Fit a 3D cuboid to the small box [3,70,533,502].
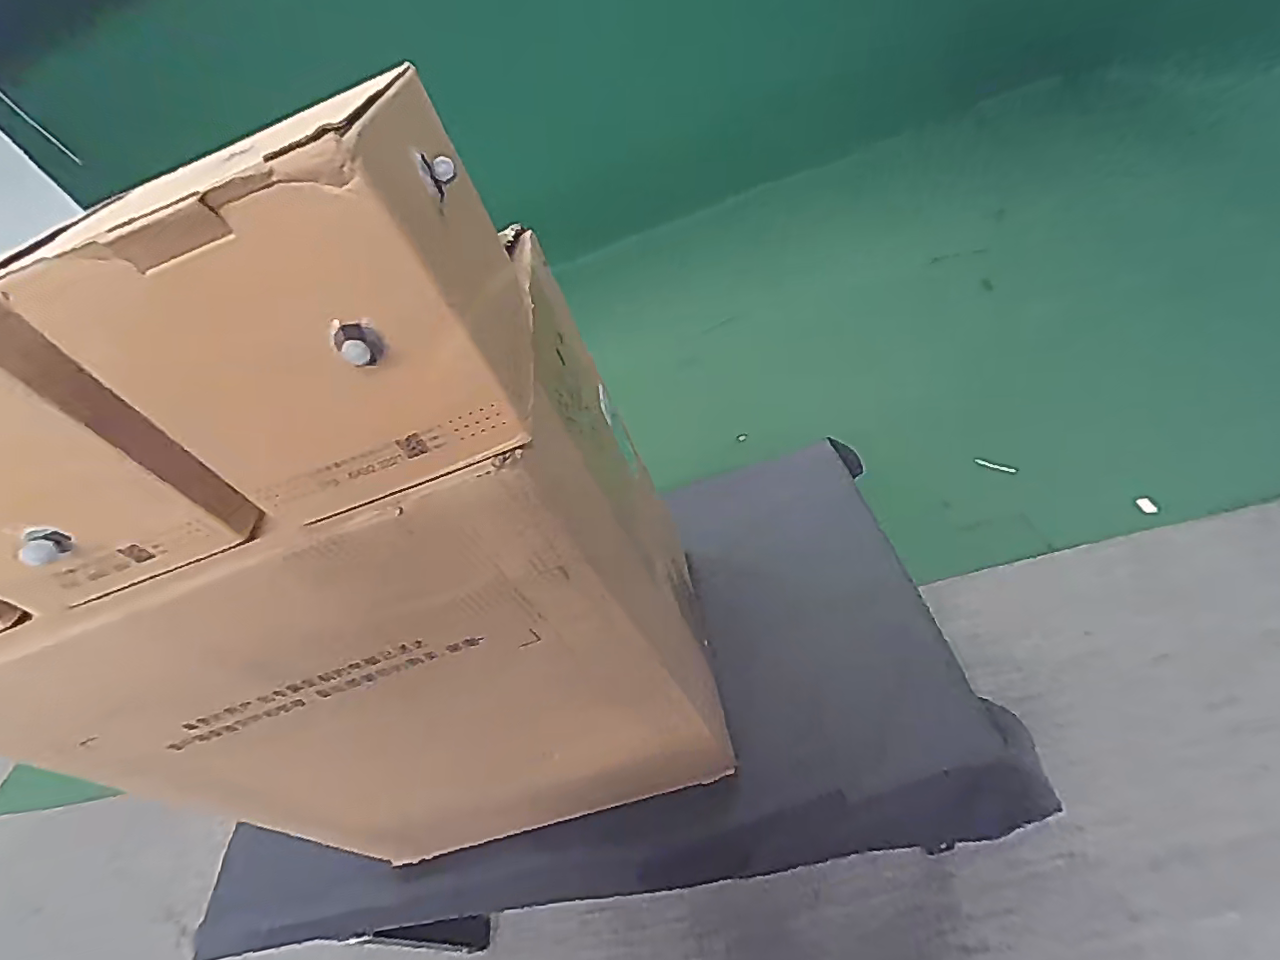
[{"bbox_3d":[-0.172,-0.107,0.326,0.168,0.176,0.179,-18,43,5],"label":"small box"}]
